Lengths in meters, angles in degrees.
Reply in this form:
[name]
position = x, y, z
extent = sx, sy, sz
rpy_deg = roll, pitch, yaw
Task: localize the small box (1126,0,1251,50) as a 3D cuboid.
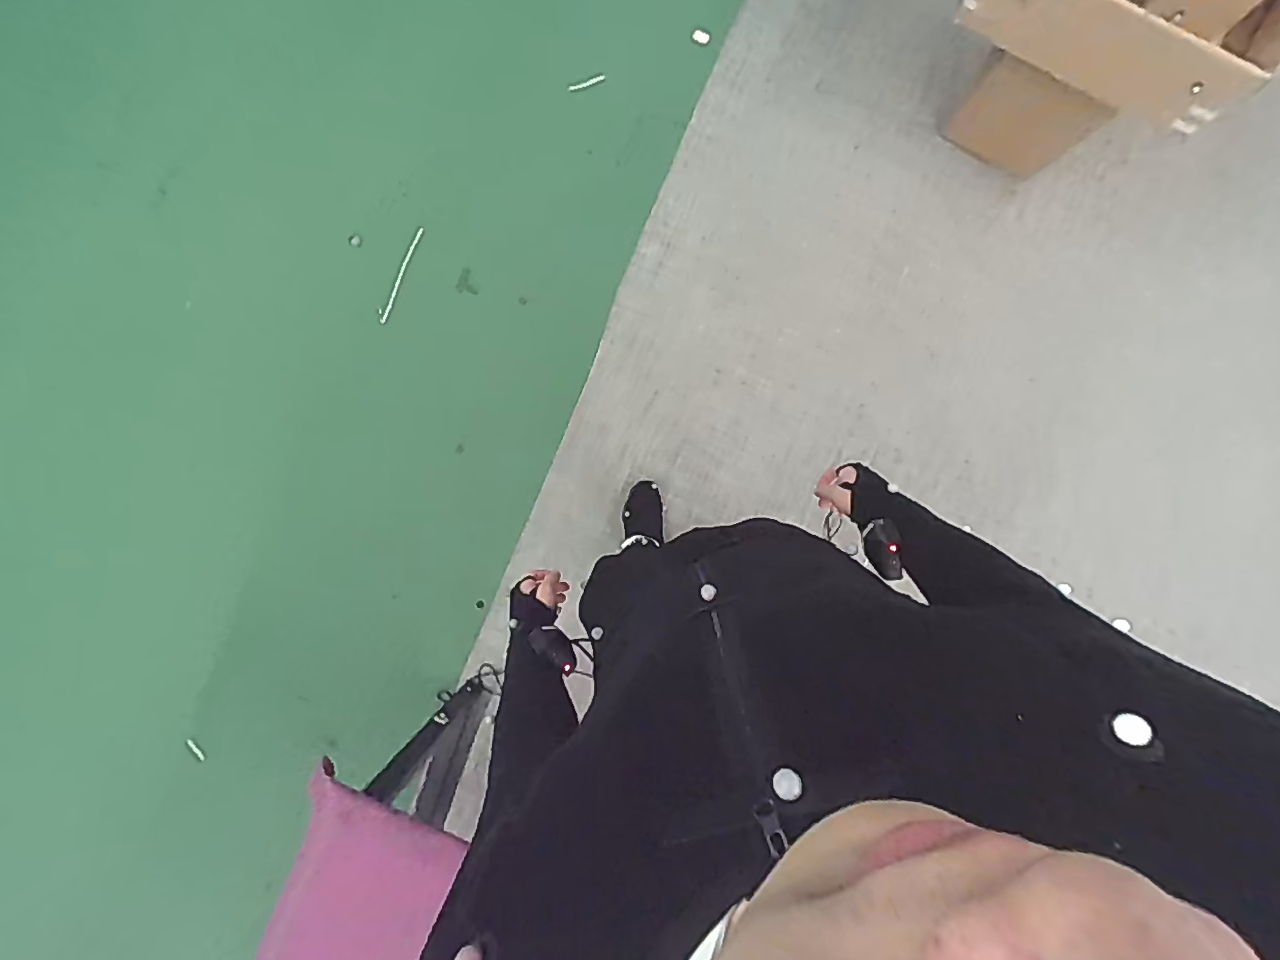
[small box]
position = 1.181, -1.065, 1.124
extent = 0.168, 0.176, 0.179
rpy_deg = 29, 92, 1
